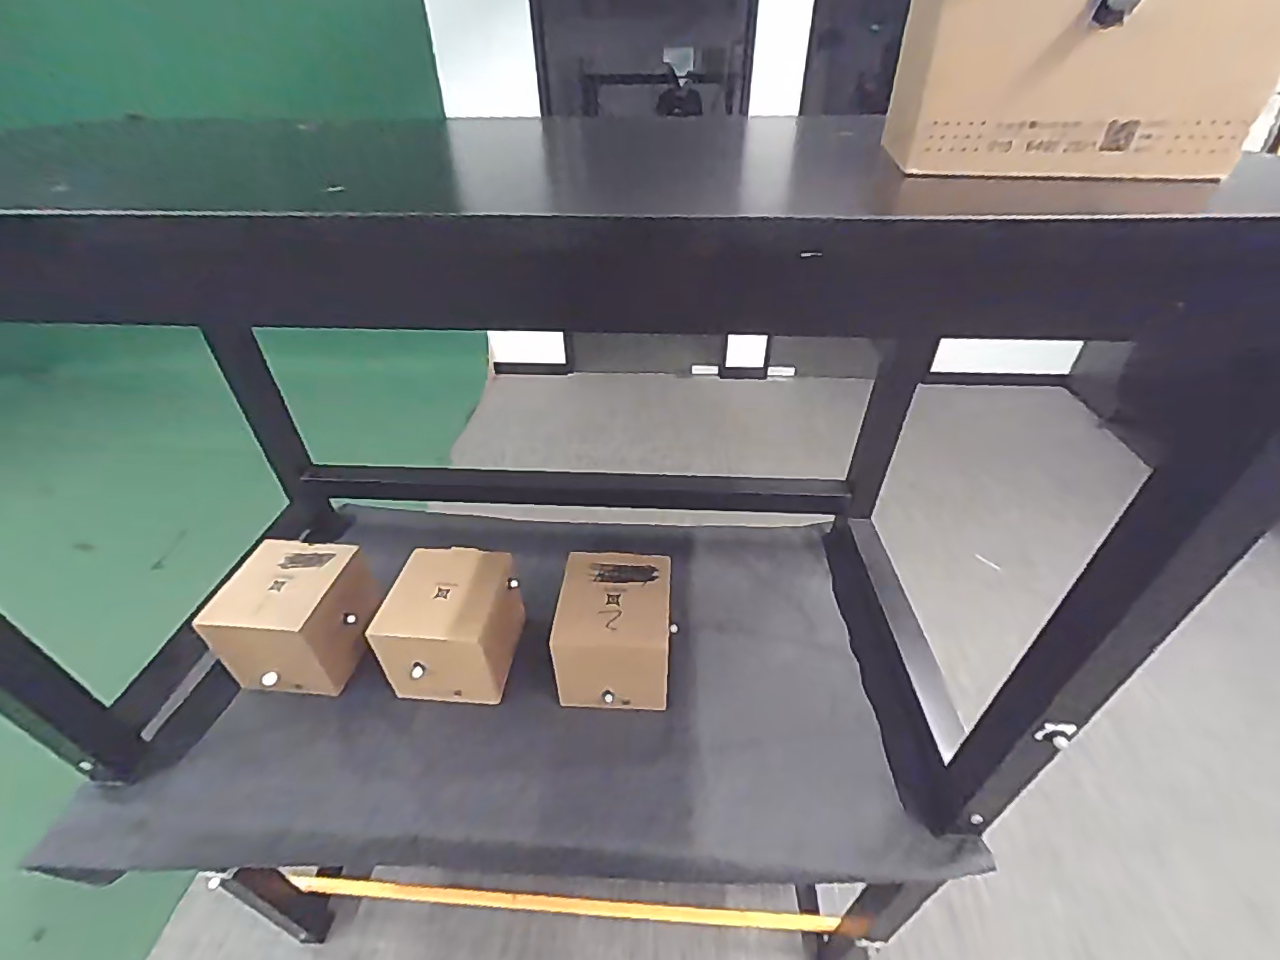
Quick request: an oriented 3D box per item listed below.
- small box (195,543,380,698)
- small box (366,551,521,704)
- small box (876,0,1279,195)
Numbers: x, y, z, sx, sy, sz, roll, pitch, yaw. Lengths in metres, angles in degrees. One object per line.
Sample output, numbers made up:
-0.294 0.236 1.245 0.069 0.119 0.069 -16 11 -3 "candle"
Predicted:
-0.551 0.226 0.881 0.168 0.176 0.179 3 38 4 "small box"
-0.298 0.236 0.869 0.168 0.176 0.179 2 37 3 "small box"
0.257 -0.284 0.336 0.168 0.176 0.179 9 38 12 "small box"
